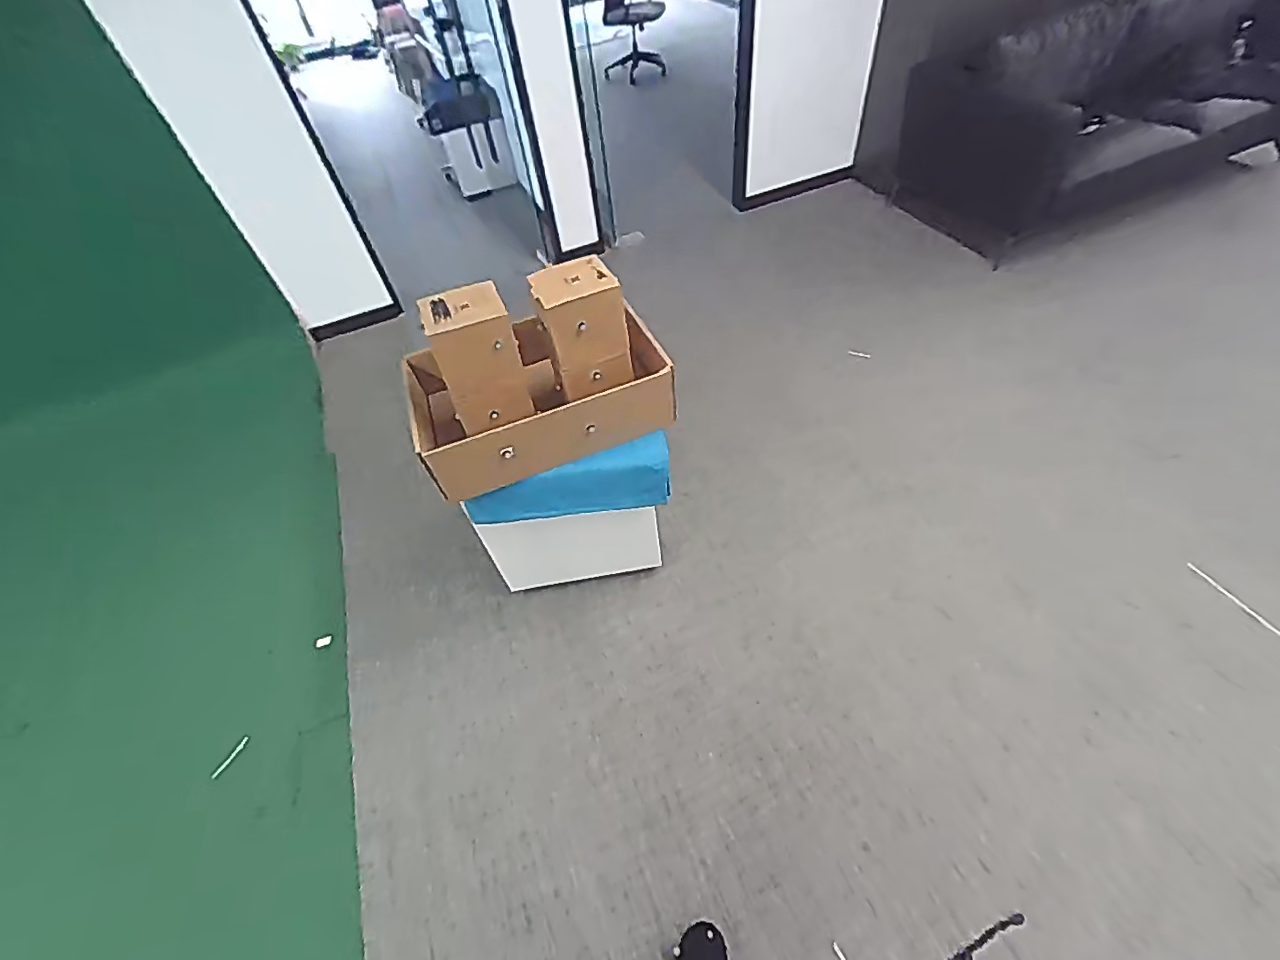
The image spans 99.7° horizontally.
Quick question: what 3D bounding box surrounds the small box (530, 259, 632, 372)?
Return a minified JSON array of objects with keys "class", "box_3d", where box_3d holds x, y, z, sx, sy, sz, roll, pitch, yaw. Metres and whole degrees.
[{"class":"small box","box_3d":[-0.135,-0.381,1.266,0.179,0.176,0.168,-23,51,-8]}]
